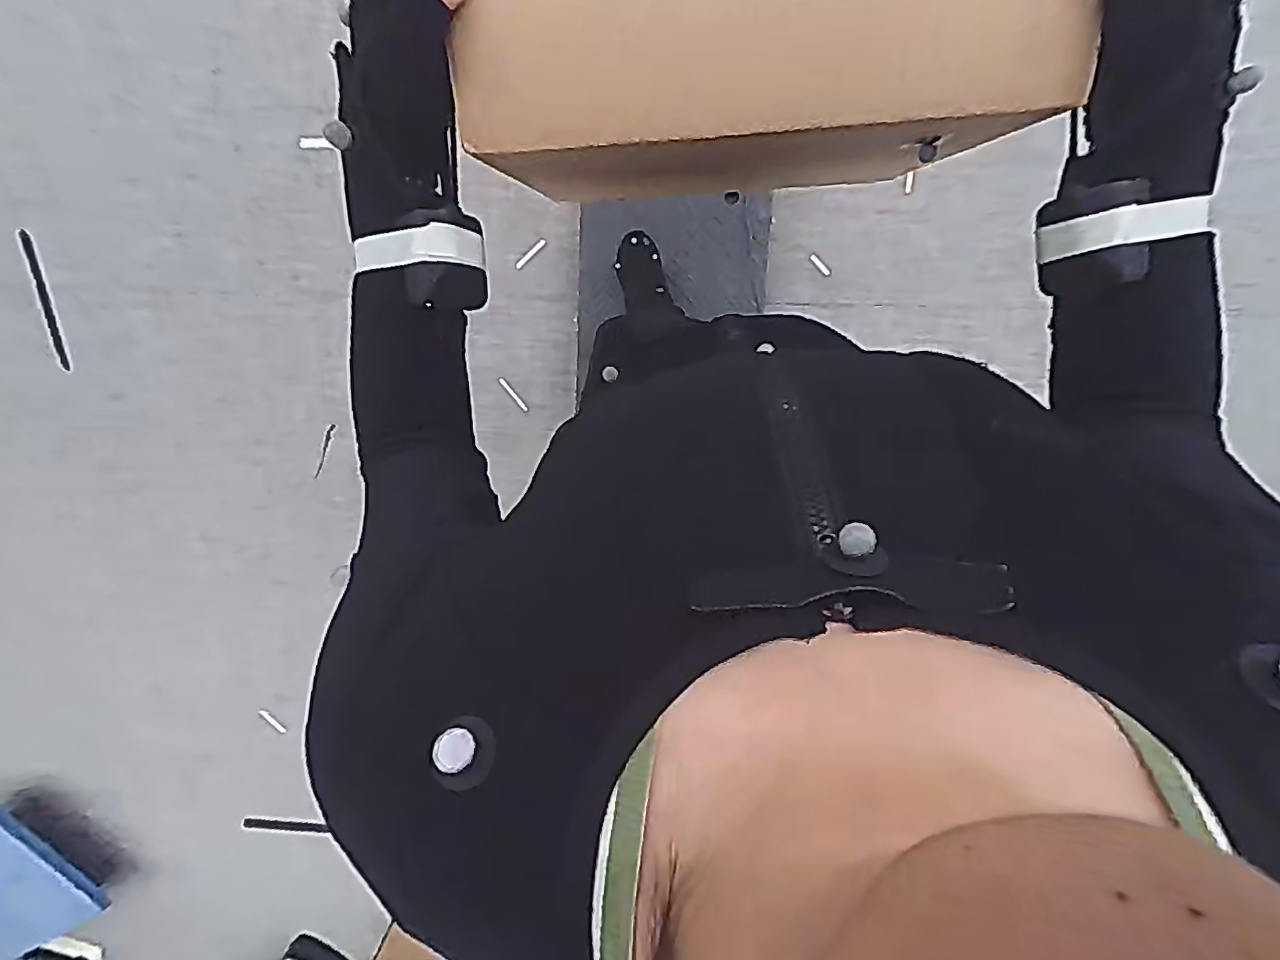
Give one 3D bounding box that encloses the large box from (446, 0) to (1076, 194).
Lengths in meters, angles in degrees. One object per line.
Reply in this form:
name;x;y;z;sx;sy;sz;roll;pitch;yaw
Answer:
large box;0.074;-0.435;0.447;0.408;0.320;0.320;-2;111;3
